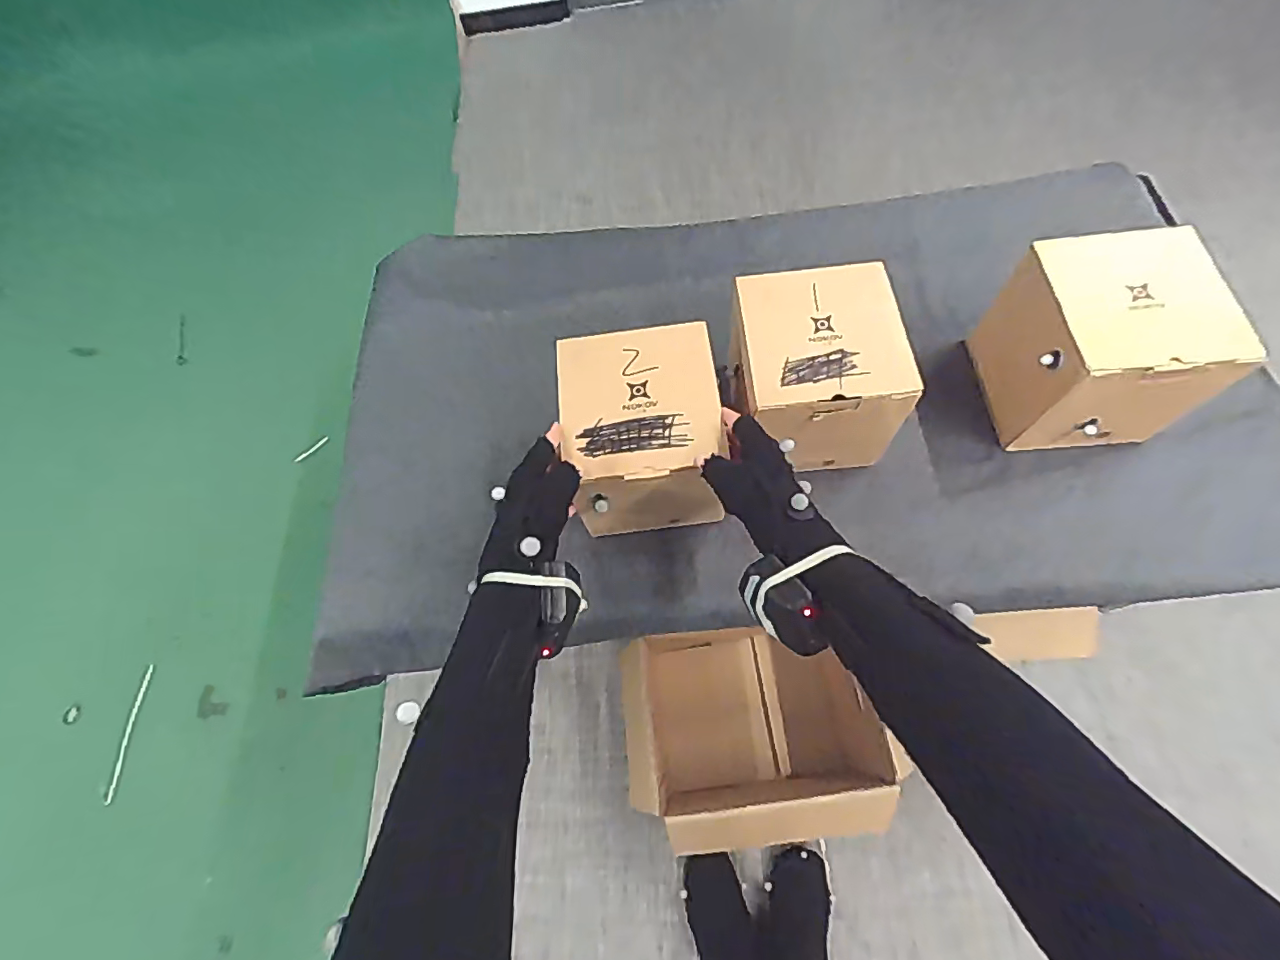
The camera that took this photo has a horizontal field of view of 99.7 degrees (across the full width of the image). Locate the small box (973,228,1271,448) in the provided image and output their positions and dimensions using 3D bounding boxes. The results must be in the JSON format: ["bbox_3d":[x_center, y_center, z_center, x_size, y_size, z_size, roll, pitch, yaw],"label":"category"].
[{"bbox_3d":[0.520,-0.154,0.622,0.168,0.176,0.179,-4,67,4],"label":"small box"}]

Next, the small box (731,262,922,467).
[{"bbox_3d":[0.202,-0.124,0.640,0.168,0.176,0.179,-4,65,4],"label":"small box"}]
